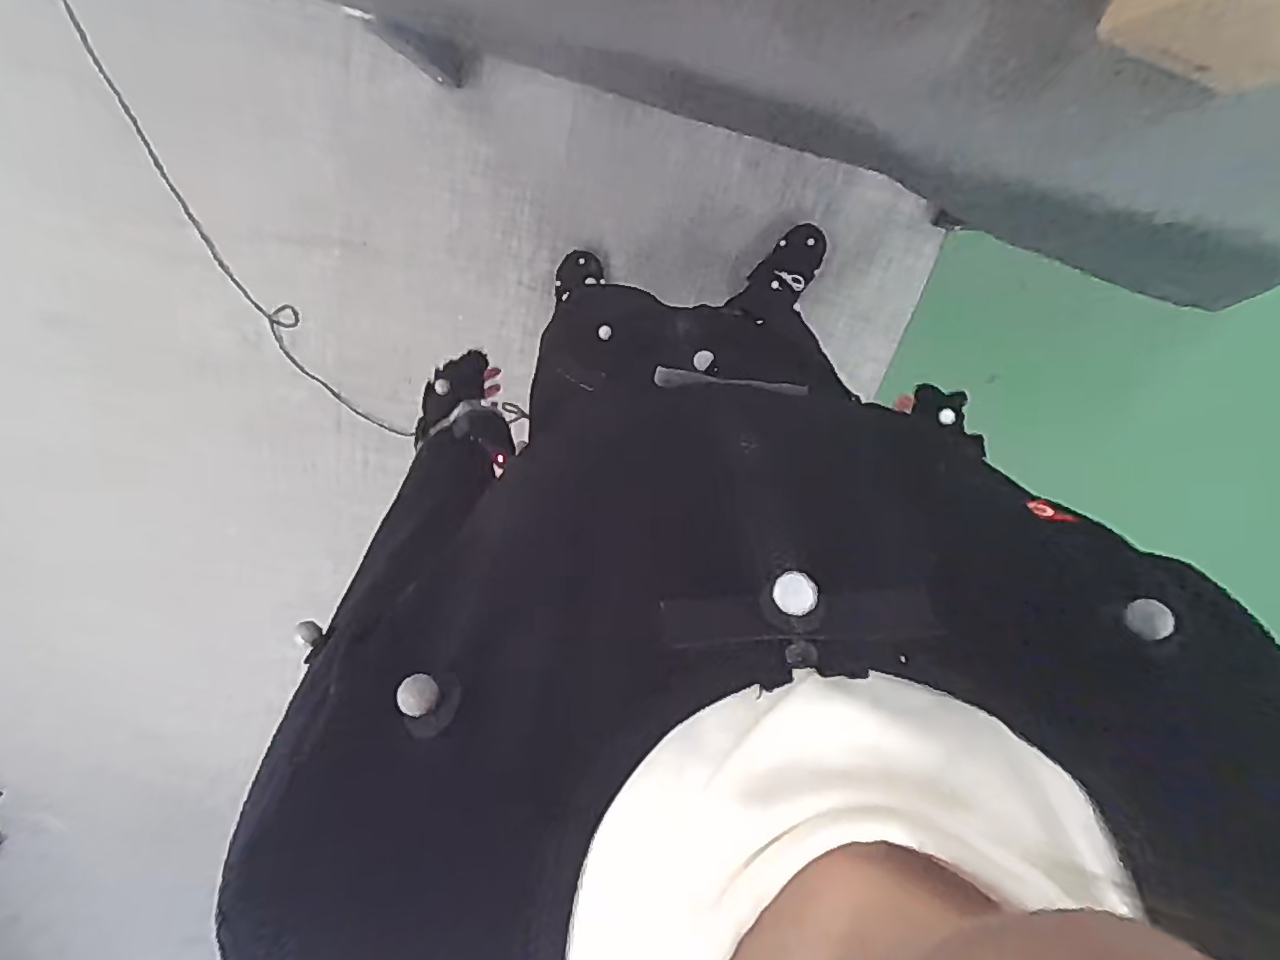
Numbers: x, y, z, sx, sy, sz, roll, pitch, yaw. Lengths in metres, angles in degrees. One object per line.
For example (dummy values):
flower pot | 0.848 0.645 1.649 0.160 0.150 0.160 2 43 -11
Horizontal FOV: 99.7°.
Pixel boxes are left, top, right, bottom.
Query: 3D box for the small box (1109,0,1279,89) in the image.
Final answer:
small box | 0.537 -0.447 0.421 0.168 0.176 0.179 14 114 -9
